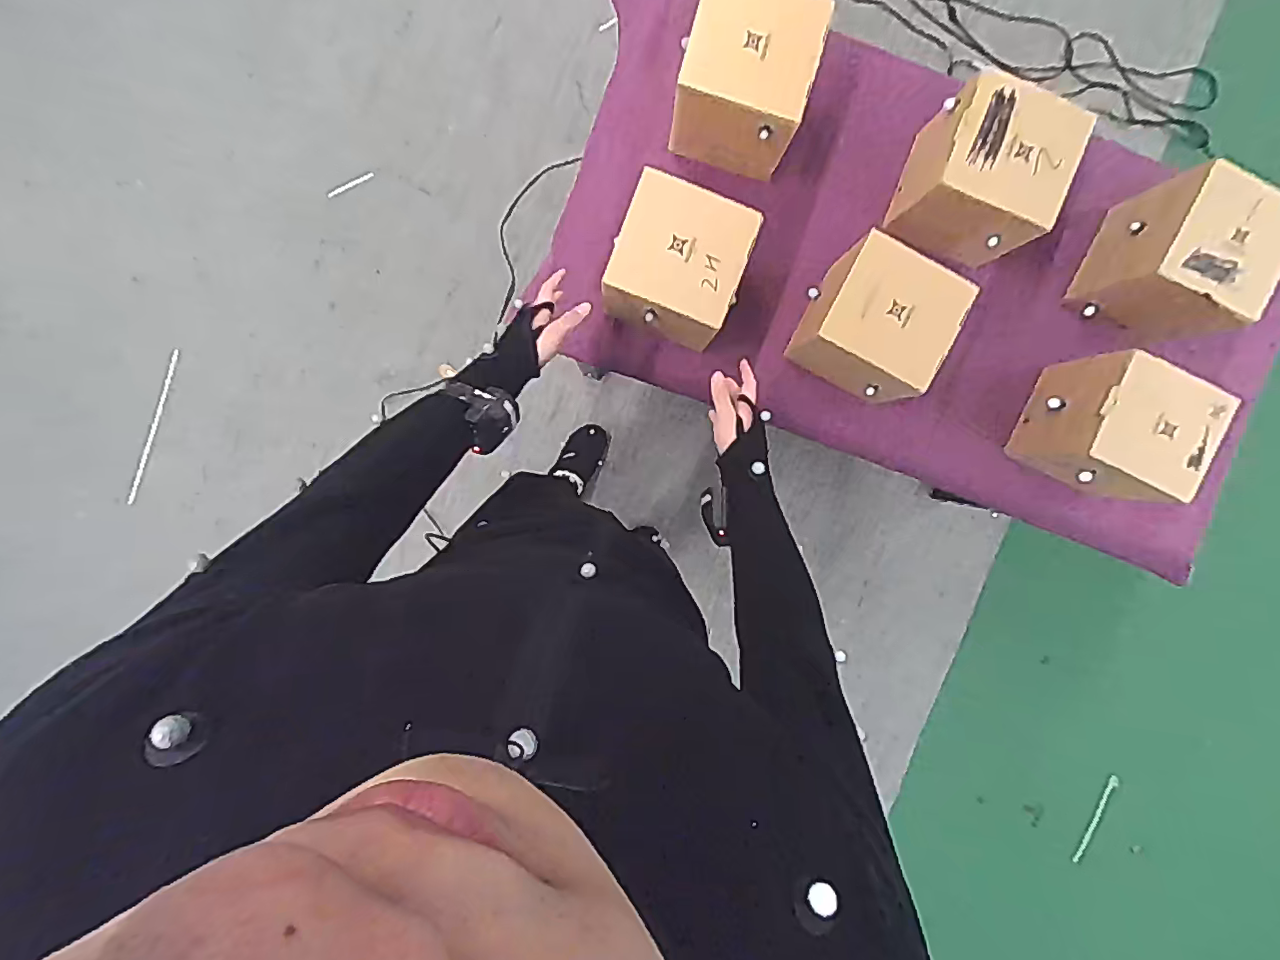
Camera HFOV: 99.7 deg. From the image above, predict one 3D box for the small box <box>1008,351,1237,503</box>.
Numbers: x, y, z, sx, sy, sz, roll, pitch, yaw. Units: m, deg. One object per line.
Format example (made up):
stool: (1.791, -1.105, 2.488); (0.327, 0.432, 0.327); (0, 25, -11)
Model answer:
small box: (0.730, -0.076, 0.842); (0.179, 0.176, 0.168); (25, 91, -3)

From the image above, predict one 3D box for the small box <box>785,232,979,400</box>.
small box: (0.351, -0.232, 0.819); (0.179, 0.176, 0.168); (28, 91, -3)

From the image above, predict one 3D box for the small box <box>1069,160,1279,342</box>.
small box: (0.818, -0.332, 0.829); (0.168, 0.176, 0.179); (26, 92, -4)

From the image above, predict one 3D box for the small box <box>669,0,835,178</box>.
small box: (0.149, -0.578, 0.790); (0.179, 0.176, 0.168); (16, 93, -4)

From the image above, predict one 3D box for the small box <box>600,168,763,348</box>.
small box: (0.052, -0.311, 0.800); (0.179, 0.176, 0.168); (21, 92, -4)
